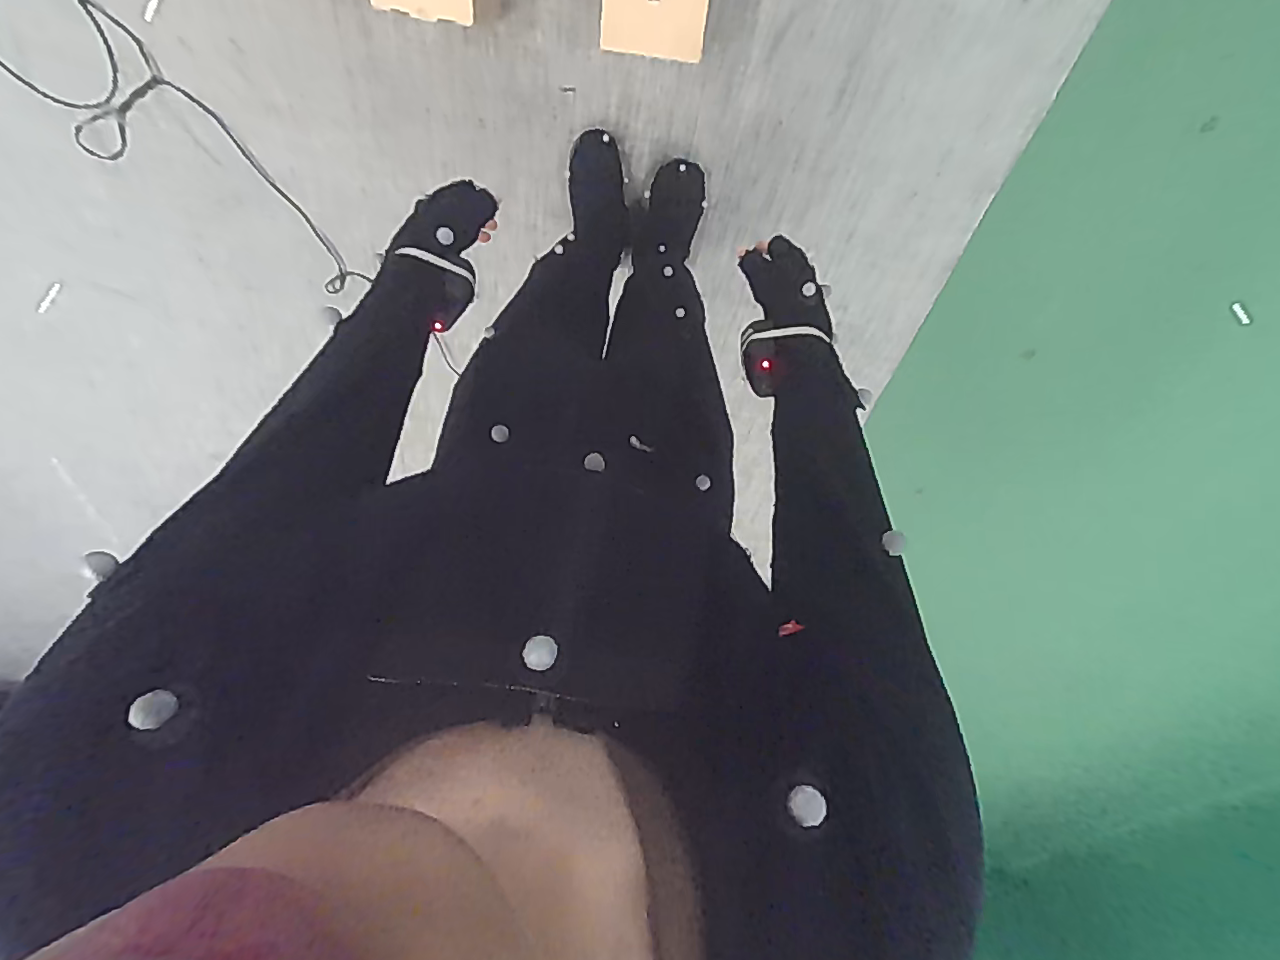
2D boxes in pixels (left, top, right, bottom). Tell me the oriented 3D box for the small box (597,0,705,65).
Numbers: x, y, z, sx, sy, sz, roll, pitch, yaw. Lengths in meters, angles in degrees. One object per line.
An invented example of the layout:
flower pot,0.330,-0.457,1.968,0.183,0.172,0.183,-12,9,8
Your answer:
small box,0.025,-0.807,0.881,0.168,0.176,0.179,7,133,-3

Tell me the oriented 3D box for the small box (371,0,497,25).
small box,-0.331,-0.859,0.863,0.168,0.176,0.179,9,133,-3
